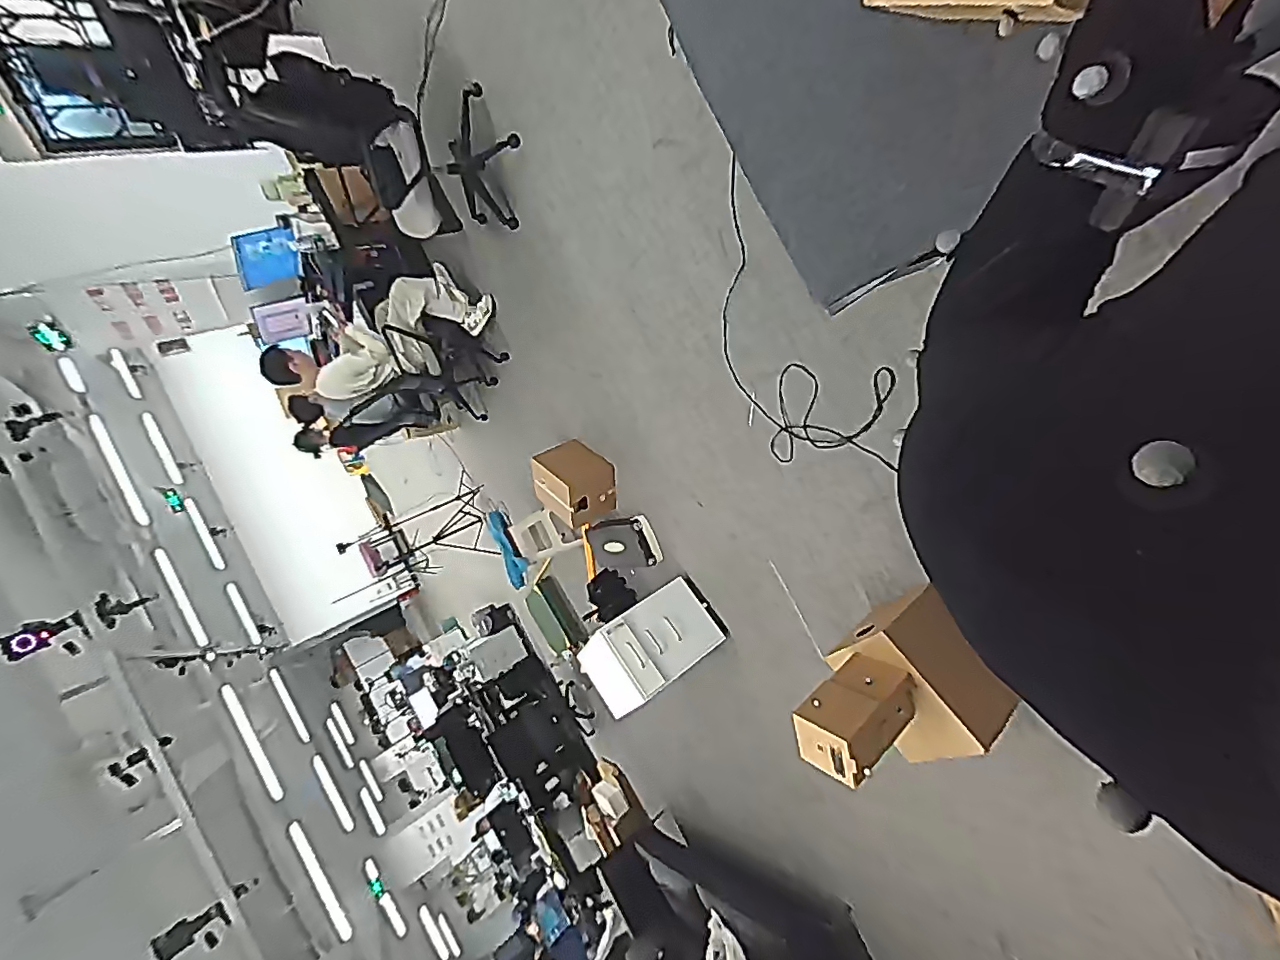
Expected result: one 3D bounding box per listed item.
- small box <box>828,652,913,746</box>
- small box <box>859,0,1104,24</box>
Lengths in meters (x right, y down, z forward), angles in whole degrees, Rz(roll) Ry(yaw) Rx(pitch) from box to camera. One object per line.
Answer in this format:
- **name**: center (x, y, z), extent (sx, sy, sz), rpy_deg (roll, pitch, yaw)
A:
- **small box**: center (0.696, 0.644, 1.619), extent (0.179, 0.176, 0.168), rpy_deg (7, 118, 51)
- **small box**: center (0.334, -0.512, 0.471), extent (0.179, 0.176, 0.168), rpy_deg (38, 140, 35)
